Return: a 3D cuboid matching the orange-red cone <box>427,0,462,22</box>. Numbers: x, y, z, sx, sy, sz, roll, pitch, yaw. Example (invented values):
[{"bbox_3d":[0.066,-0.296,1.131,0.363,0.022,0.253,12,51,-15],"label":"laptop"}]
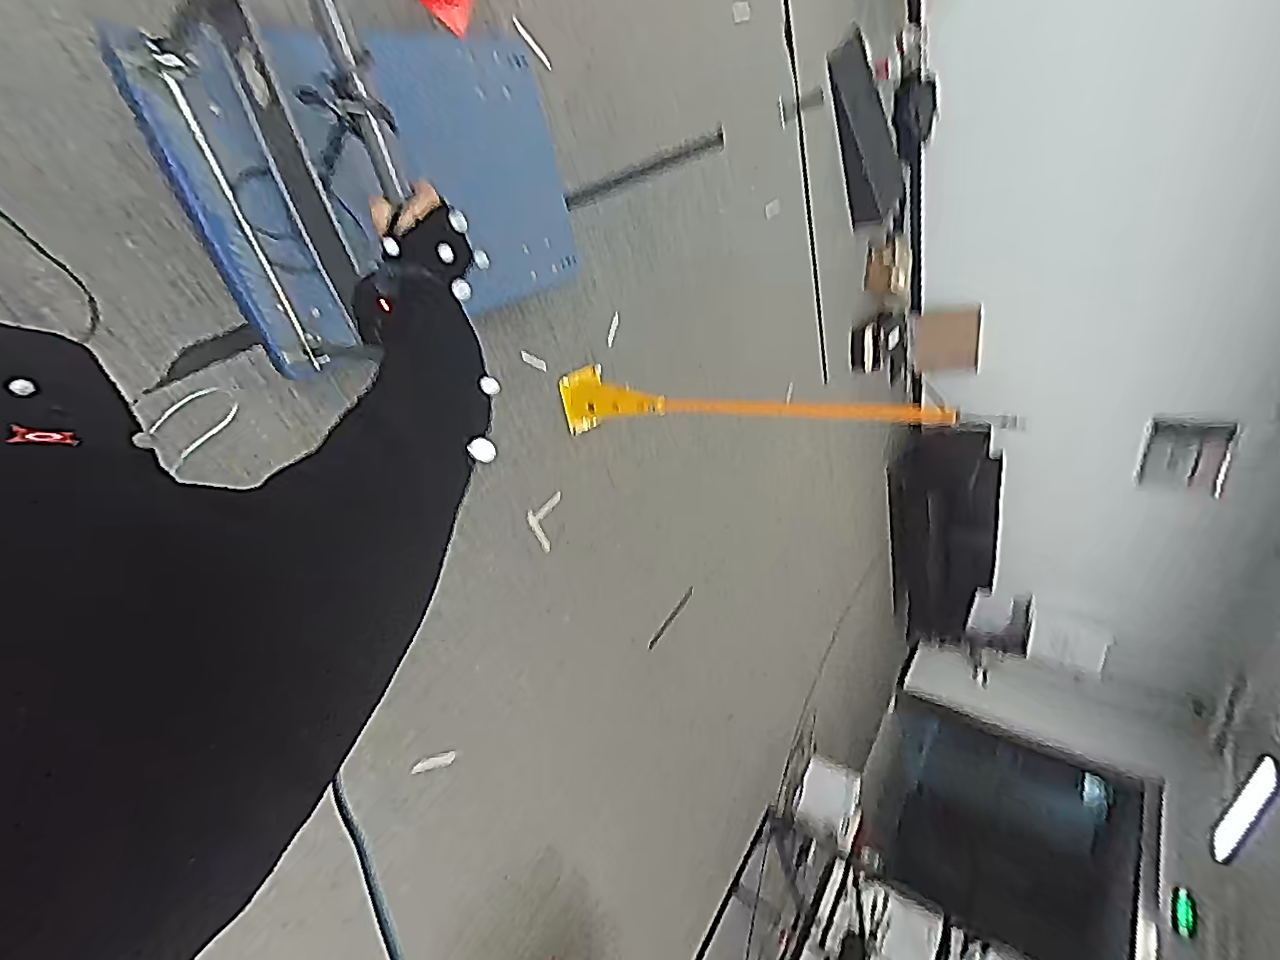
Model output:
[{"bbox_3d":[-0.377,-1.241,1.208,0.199,0.360,0.198,14,89,-53],"label":"orange-red cone"}]
